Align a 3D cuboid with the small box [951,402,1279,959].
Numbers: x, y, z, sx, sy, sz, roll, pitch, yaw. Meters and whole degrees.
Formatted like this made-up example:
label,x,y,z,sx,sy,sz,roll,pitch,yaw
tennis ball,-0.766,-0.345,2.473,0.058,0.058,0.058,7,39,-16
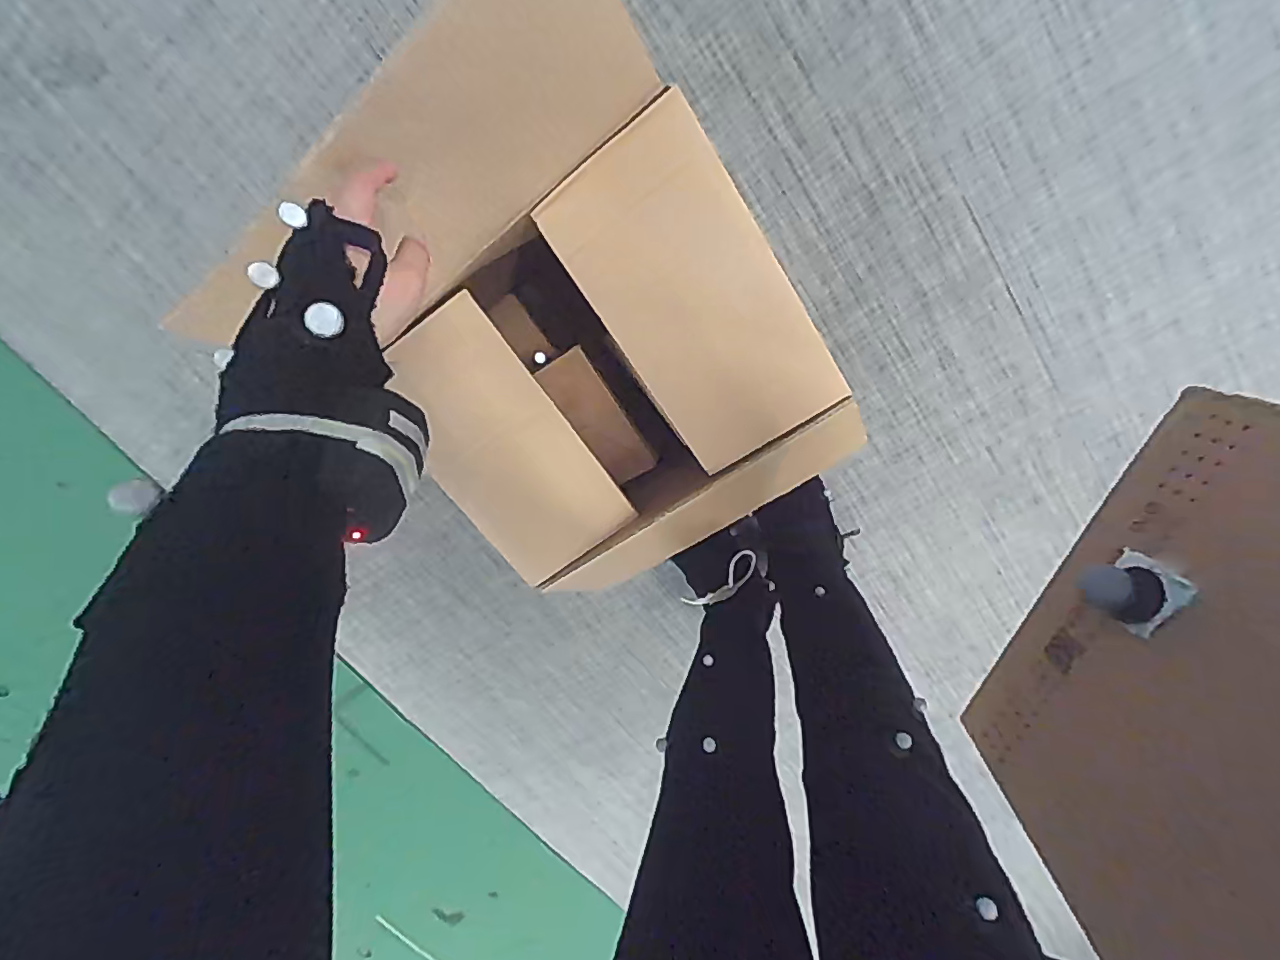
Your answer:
label,x,y,z,sx,sy,sz,roll,pitch,yaw
small box,0.238,0.088,0.155,0.179,0.176,0.168,17,110,1
